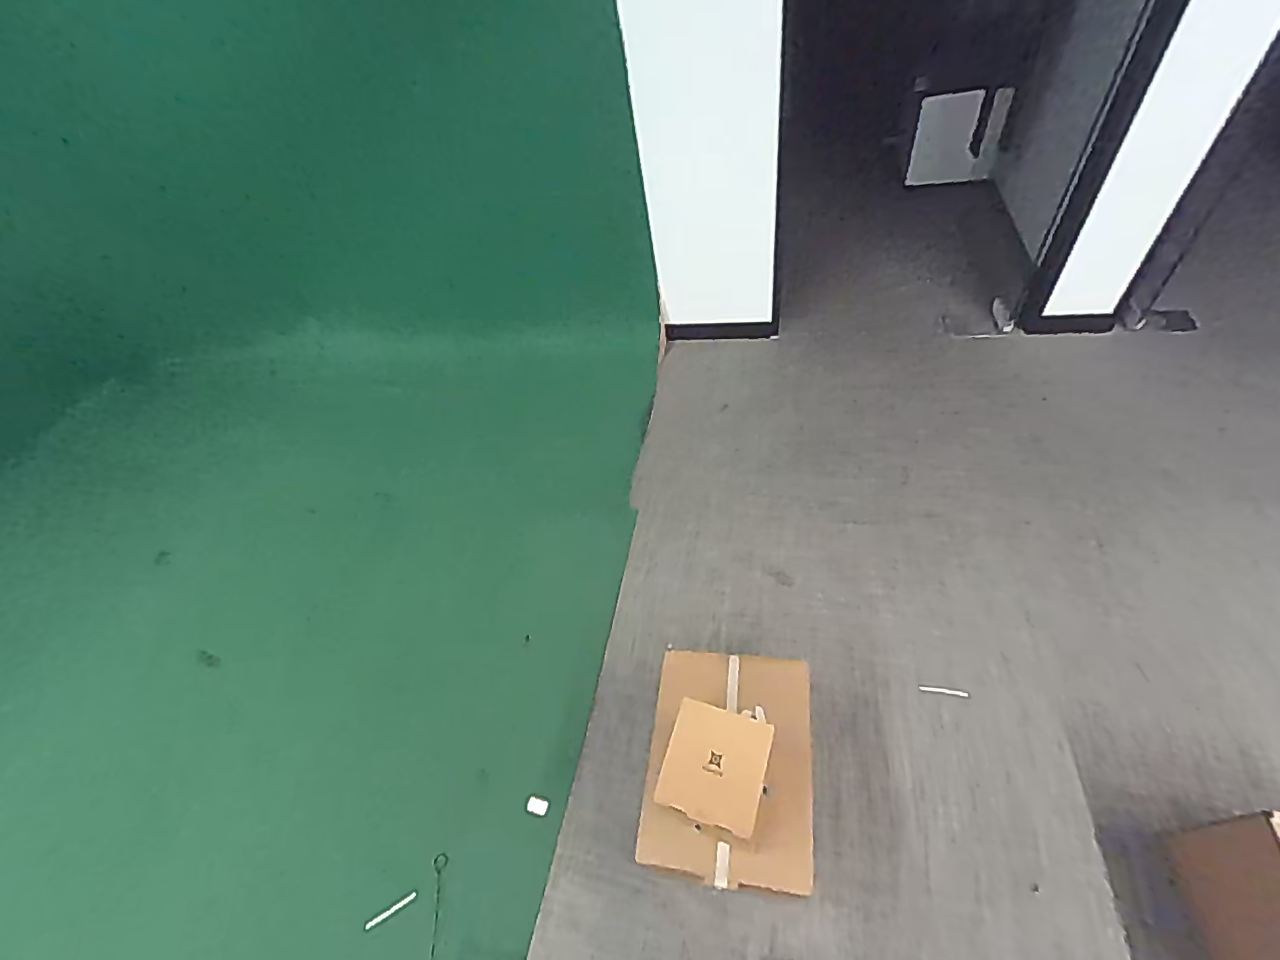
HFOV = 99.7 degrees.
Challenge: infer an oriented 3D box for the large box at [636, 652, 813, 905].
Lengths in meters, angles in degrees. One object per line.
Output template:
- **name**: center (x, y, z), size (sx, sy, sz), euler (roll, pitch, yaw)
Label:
- **large box**: center (0.195, 0.637, 1.168), size (0.320, 0.320, 0.408), euler (2, 50, 13)

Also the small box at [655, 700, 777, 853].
- **small box**: center (0.140, 0.522, 0.953), size (0.168, 0.176, 0.179), euler (10, 54, 21)
